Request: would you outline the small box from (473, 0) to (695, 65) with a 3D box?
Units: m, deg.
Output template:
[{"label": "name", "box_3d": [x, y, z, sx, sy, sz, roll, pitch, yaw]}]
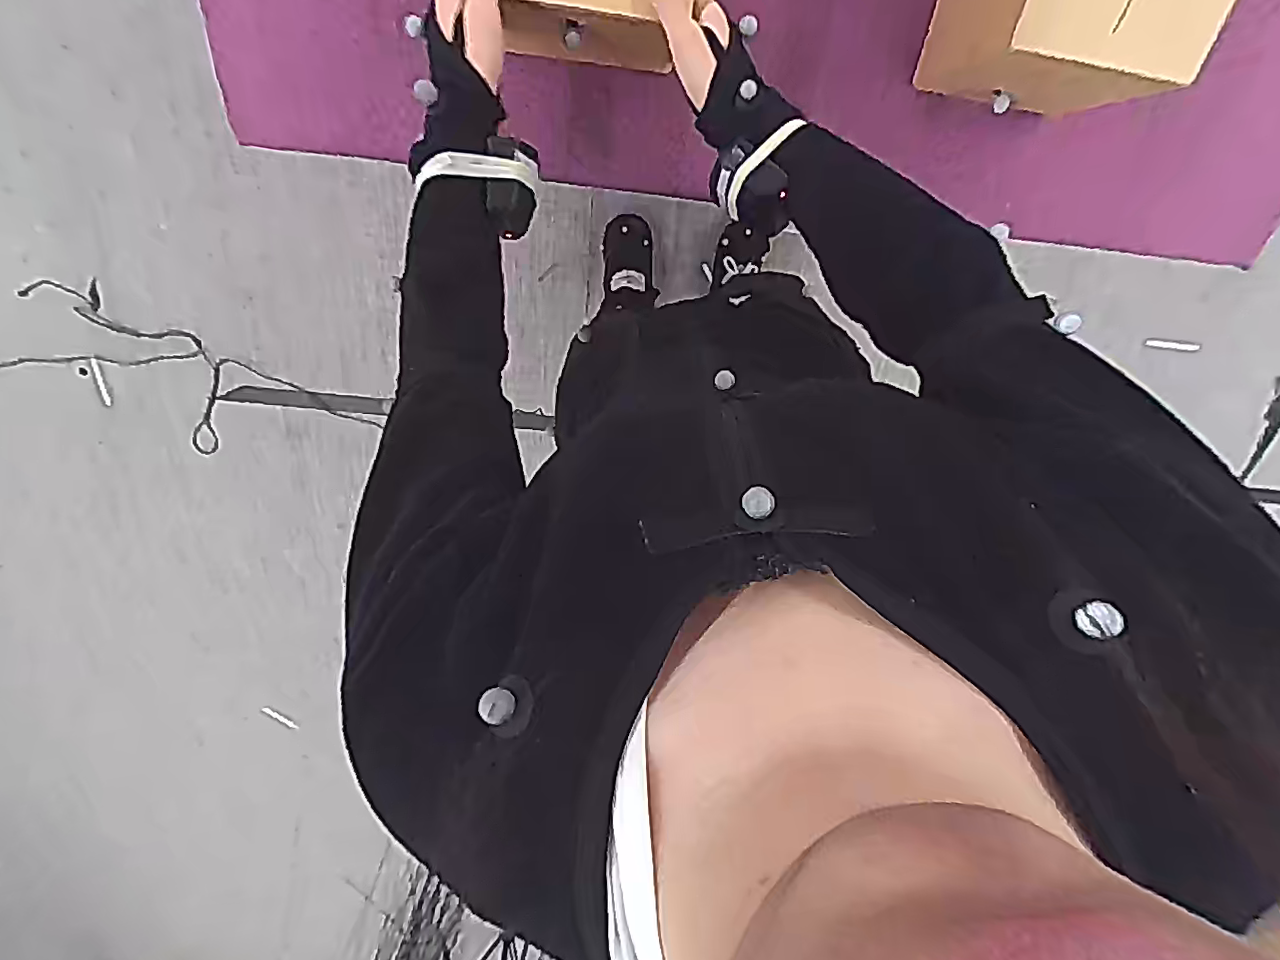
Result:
[{"label": "small box", "box_3d": [-0.041, -0.471, 0.452, 0.179, 0.176, 0.168, 4, 117, -4]}]

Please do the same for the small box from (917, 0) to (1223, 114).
[{"label": "small box", "box_3d": [0.382, -0.451, 0.478, 0.168, 0.176, 0.179, 7, 117, -6]}]
